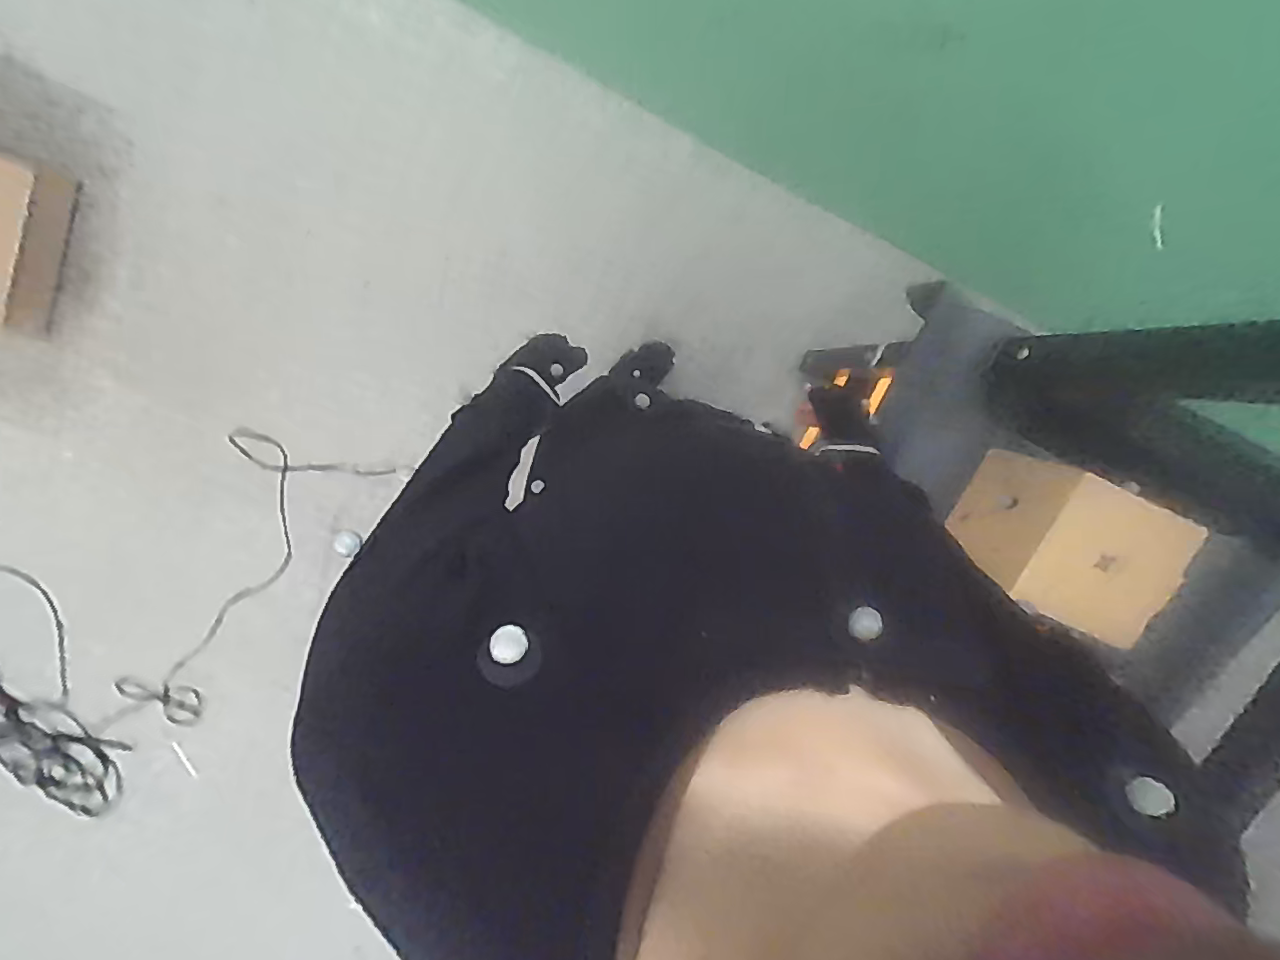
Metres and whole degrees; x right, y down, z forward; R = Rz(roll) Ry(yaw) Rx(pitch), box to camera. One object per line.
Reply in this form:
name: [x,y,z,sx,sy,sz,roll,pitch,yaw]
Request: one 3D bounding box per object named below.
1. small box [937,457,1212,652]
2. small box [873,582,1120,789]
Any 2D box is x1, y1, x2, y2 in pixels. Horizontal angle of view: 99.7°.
small box: [0.526,0.080,0.686,0.179,0.176,0.168,23,101,-7]
small box: [0.455,0.260,0.722,0.179,0.176,0.168,25,100,-6]
